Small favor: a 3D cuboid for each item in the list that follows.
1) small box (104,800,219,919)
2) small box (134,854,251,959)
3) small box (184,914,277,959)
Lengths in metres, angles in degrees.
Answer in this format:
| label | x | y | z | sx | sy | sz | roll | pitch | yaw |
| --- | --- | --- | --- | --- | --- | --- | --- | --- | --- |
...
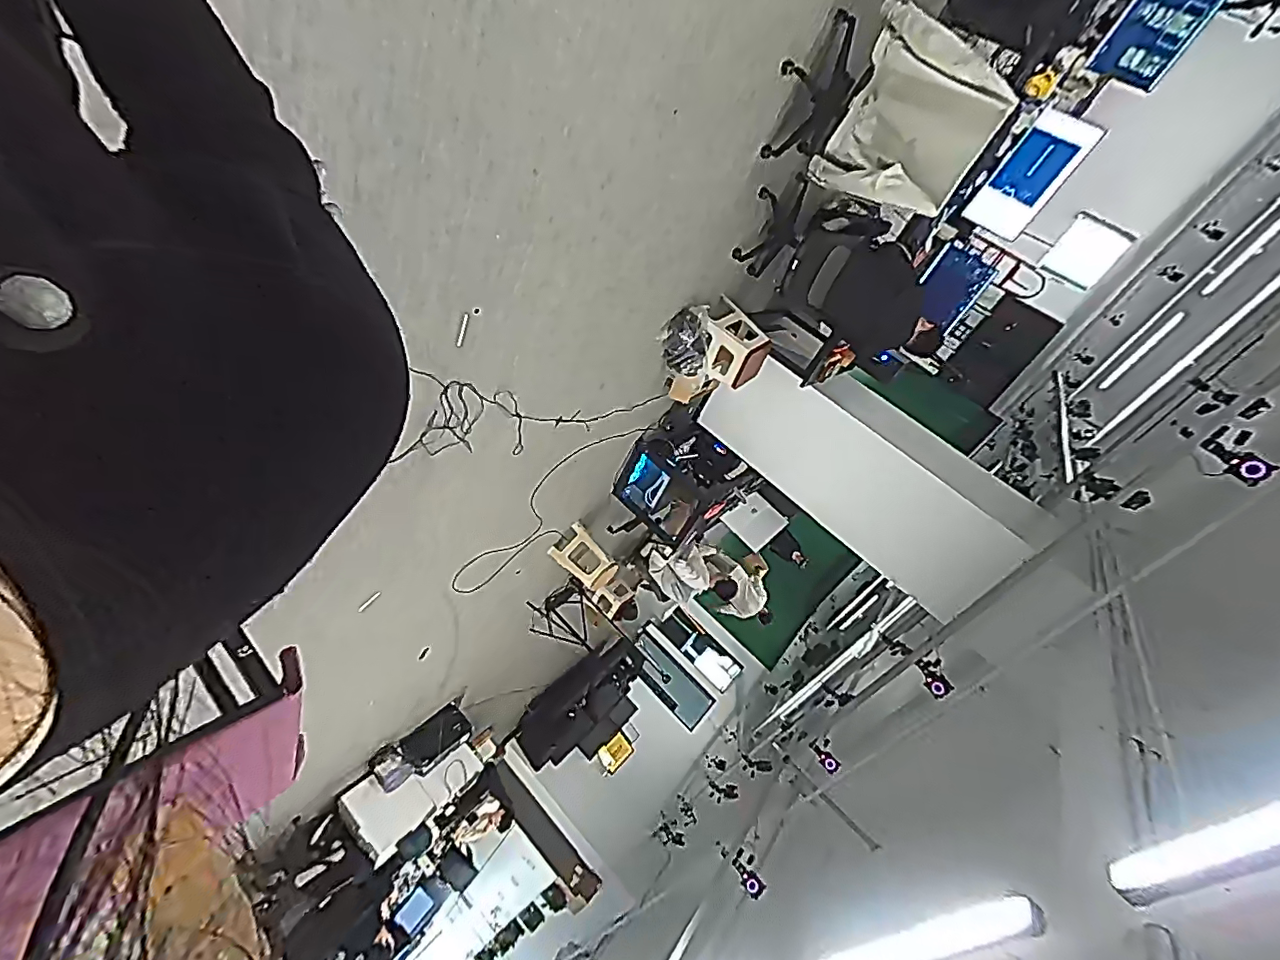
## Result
| label | x | y | z | sx | sy | sz | roll | pitch | yaw |
| --- | --- | --- | --- | --- | --- | --- | --- | --- | --- |
| small box | -1.173 | 0.931 | 1.330 | 0.168 | 0.176 | 0.179 | -25 | 152 | -51 |
| small box | -1.058 | 1.040 | 1.284 | 0.168 | 0.176 | 0.179 | -26 | 153 | -51 |
| small box | -0.942 | 1.144 | 1.230 | 0.168 | 0.176 | 0.179 | -25 | 151 | -52 |
